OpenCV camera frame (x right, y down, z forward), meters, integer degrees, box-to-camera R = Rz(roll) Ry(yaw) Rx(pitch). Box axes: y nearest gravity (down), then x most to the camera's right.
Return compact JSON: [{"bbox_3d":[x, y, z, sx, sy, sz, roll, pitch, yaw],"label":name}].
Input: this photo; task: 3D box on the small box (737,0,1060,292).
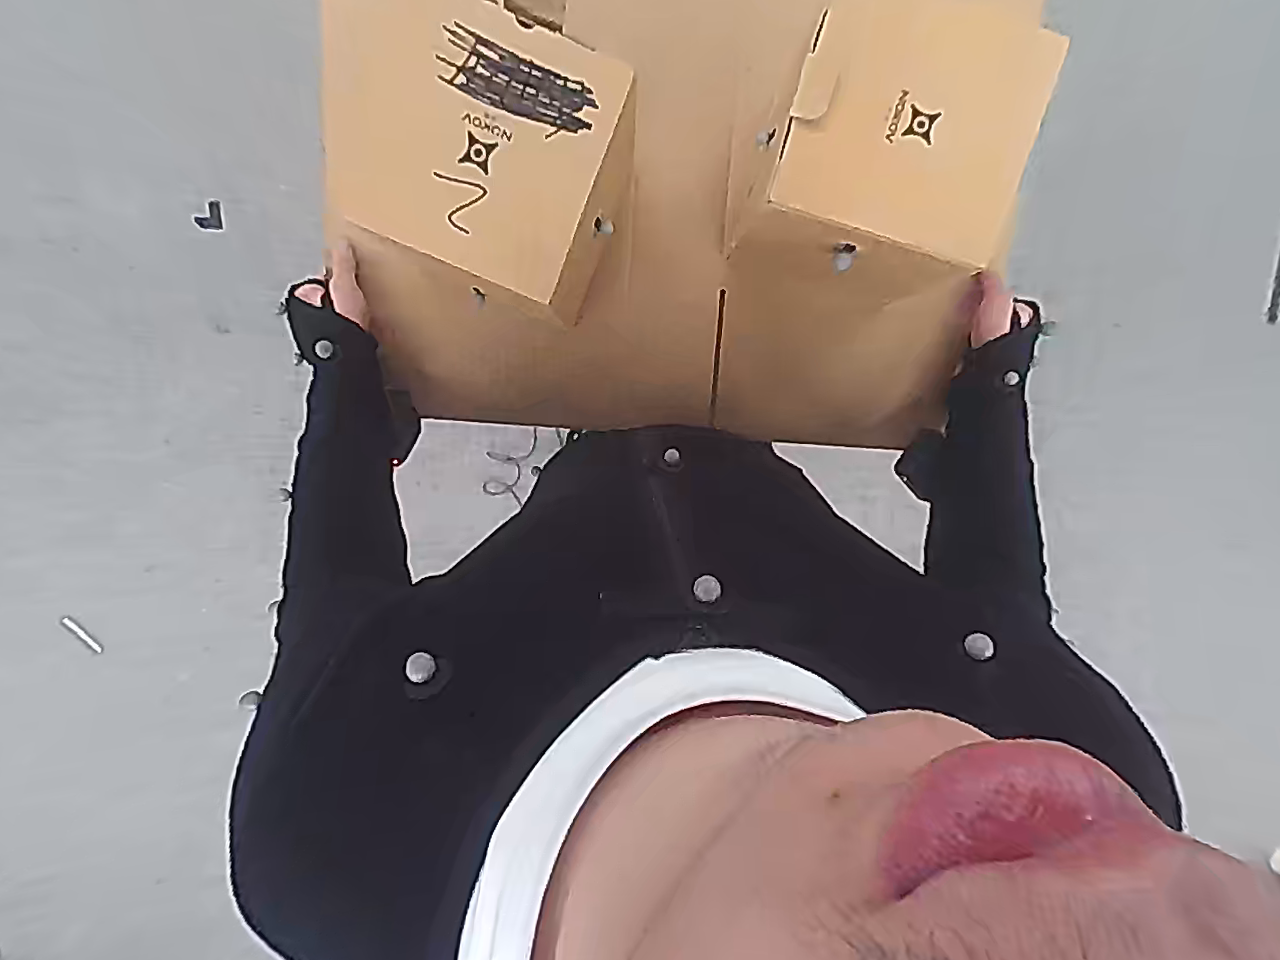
[{"bbox_3d":[0.202,-0.279,0.480,0.179,0.176,0.168,16,98,-2],"label":"small box"}]
